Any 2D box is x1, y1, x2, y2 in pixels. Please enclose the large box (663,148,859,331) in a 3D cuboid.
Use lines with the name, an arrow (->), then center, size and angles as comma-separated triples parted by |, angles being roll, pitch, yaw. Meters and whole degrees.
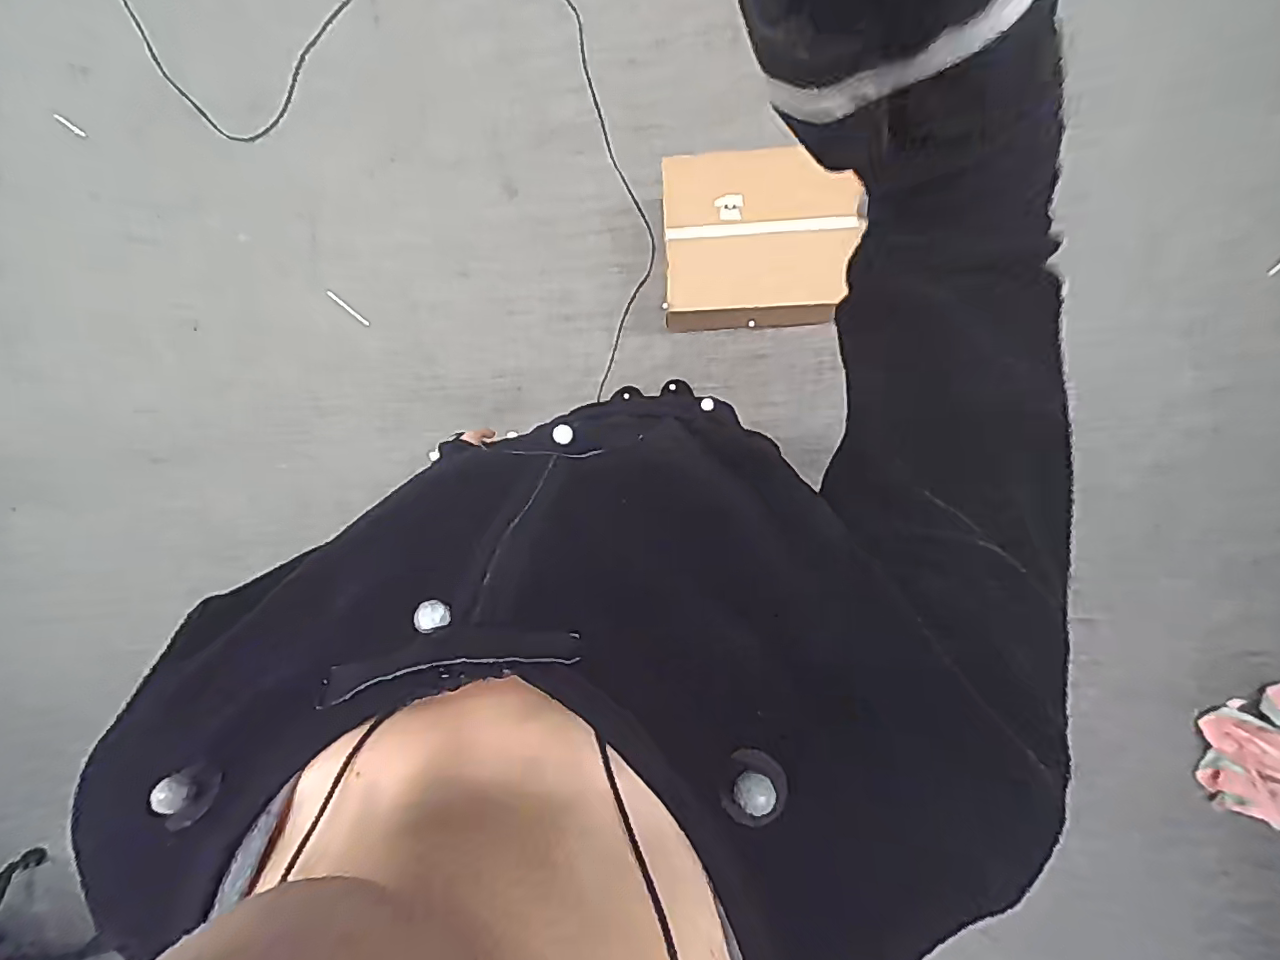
large box -> 0.266, -0.535, 1.273 | 0.408, 0.320, 0.320 | -2, 97, 5
